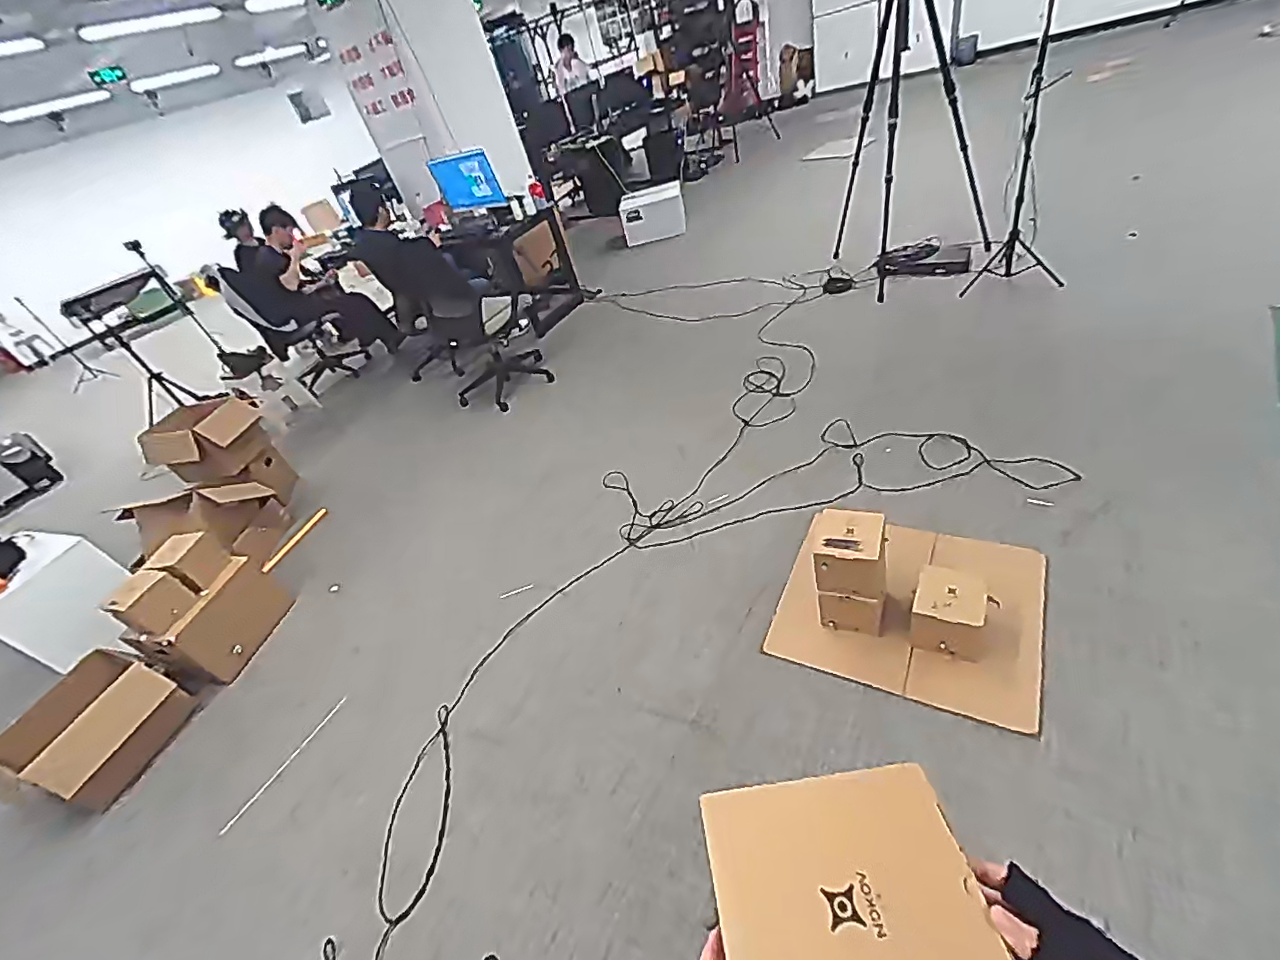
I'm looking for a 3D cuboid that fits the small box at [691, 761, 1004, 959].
[{"bbox_3d":[0.142,0.343,0.405,0.179,0.176,0.168,-9,38,1],"label":"small box"}]

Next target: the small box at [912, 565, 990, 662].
[{"bbox_3d":[0.857,0.369,1.497,0.168,0.176,0.179,8,46,33],"label":"small box"}]

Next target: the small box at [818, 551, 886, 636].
[{"bbox_3d":[0.641,0.340,1.622,0.168,0.176,0.179,5,44,29],"label":"small box"}]
